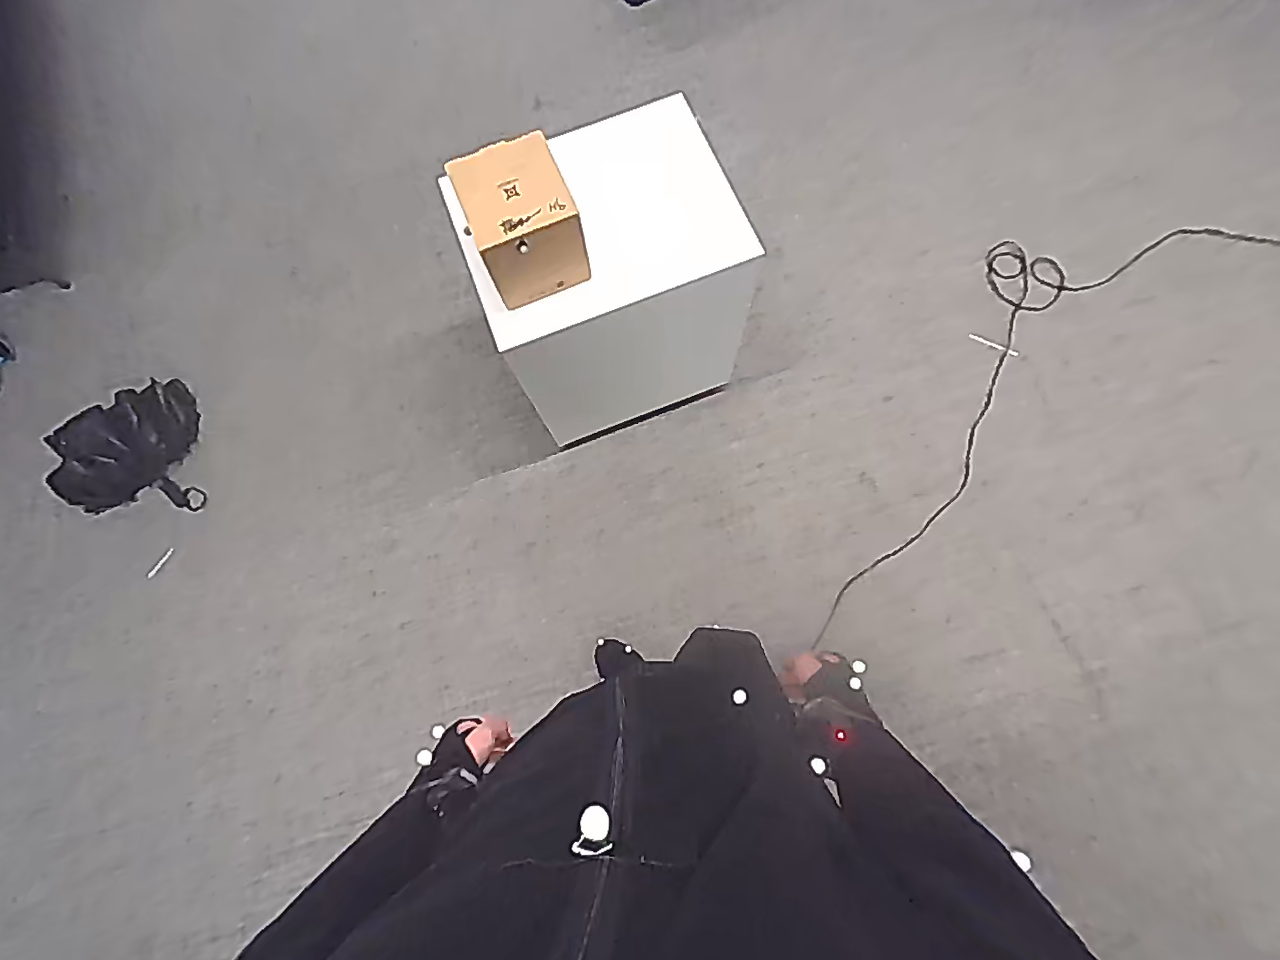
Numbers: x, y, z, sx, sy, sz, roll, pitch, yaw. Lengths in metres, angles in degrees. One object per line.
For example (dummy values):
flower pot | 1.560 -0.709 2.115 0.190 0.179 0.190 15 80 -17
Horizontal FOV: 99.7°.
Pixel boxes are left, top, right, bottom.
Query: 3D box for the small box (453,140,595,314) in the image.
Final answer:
small box | -0.189 -0.419 0.915 0.168 0.176 0.179 -23 75 -3
